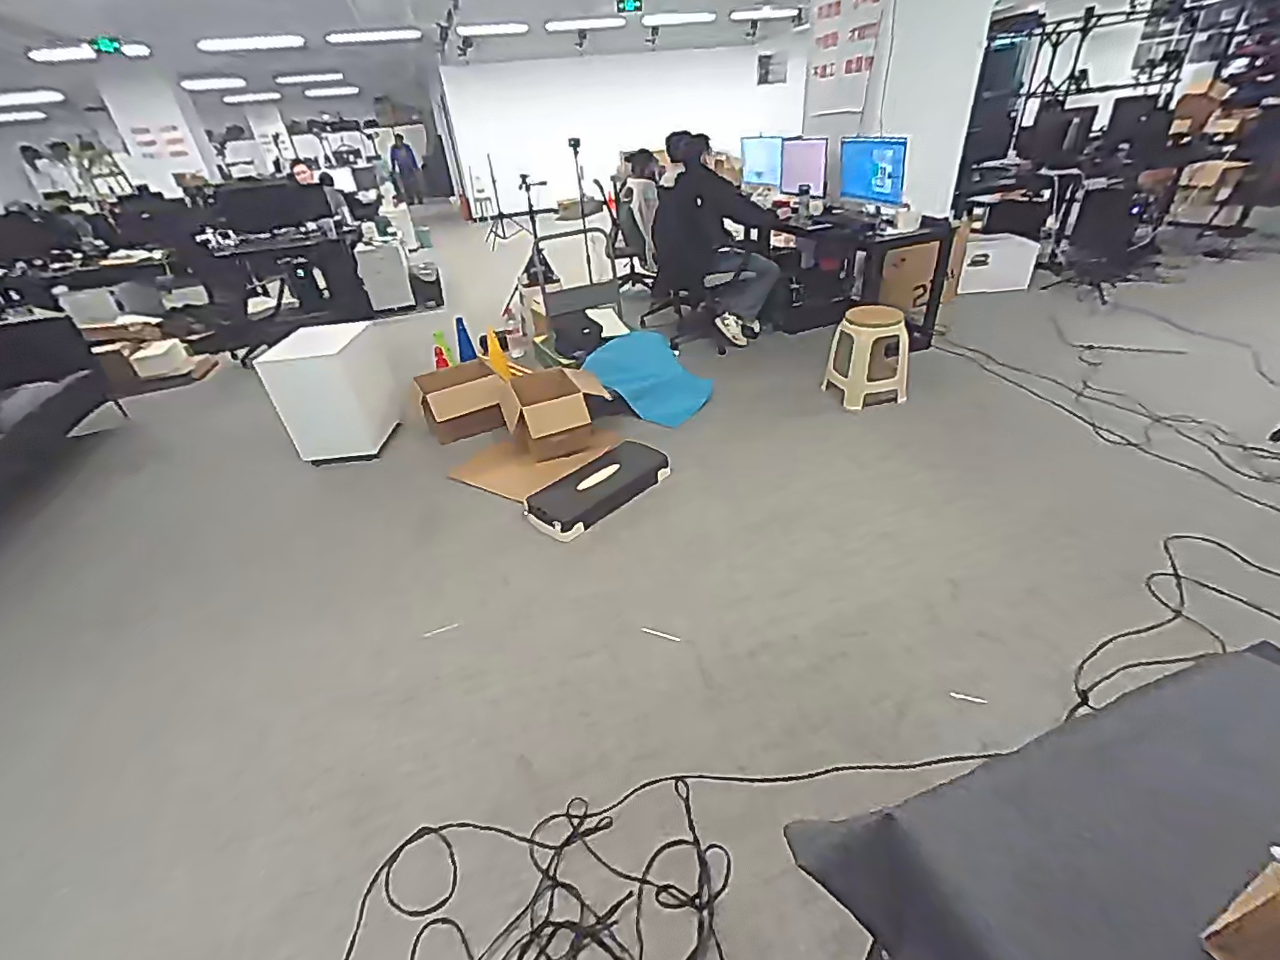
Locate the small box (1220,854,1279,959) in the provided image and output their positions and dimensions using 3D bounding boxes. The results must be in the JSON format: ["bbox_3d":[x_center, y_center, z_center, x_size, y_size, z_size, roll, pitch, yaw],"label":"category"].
[{"bbox_3d":[0.596,0.349,0.394,0.179,0.176,0.168,-30,39,-13],"label":"small box"}]
